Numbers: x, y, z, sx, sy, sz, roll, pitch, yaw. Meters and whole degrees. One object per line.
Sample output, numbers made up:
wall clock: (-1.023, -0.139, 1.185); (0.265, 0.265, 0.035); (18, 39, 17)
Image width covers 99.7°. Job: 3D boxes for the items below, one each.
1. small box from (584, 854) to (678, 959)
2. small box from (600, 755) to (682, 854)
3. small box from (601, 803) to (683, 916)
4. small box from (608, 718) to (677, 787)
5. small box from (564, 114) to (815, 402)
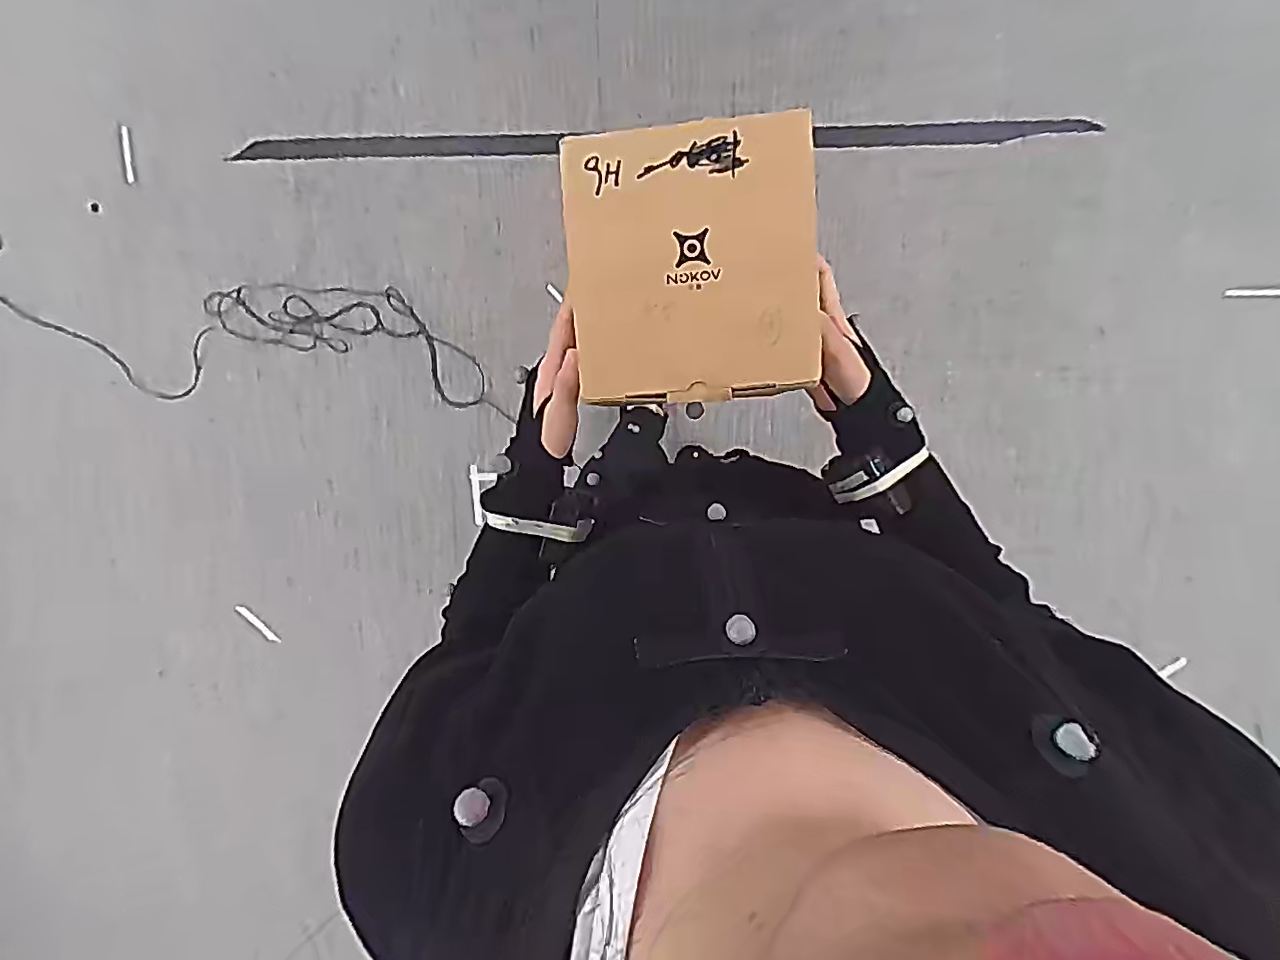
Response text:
small box: (-0.020, 0.883, 1.055); (0.168, 0.176, 0.179); (6, 97, 0)
small box: (0.003, 0.834, 1.377); (0.179, 0.176, 0.168); (9, 98, 1)
small box: (-0.002, 0.864, 1.218); (0.179, 0.176, 0.168); (7, 97, 1)
small box: (0.008, 0.802, 1.539); (0.179, 0.176, 0.168); (6, 98, 1)
small box: (0.039, -0.158, 0.443); (0.168, 0.176, 0.179); (-4, 97, 3)
